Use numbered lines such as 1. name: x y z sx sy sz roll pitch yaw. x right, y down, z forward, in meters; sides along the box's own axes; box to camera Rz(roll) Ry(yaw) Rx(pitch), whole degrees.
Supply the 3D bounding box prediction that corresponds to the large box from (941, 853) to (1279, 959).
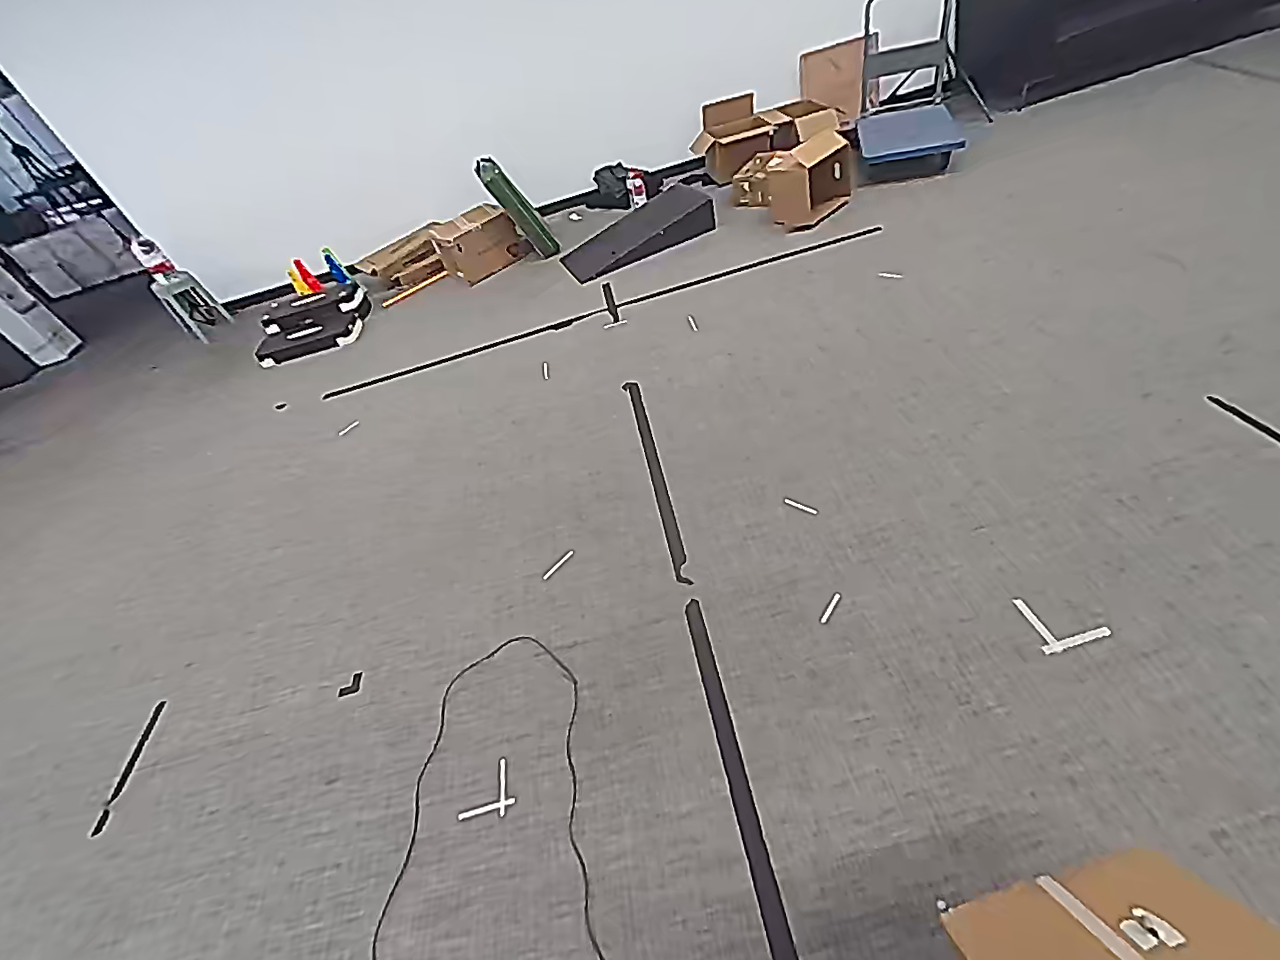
1. large box: 0.614 0.696 0.559 0.320 0.408 0.320 -19 81 1
